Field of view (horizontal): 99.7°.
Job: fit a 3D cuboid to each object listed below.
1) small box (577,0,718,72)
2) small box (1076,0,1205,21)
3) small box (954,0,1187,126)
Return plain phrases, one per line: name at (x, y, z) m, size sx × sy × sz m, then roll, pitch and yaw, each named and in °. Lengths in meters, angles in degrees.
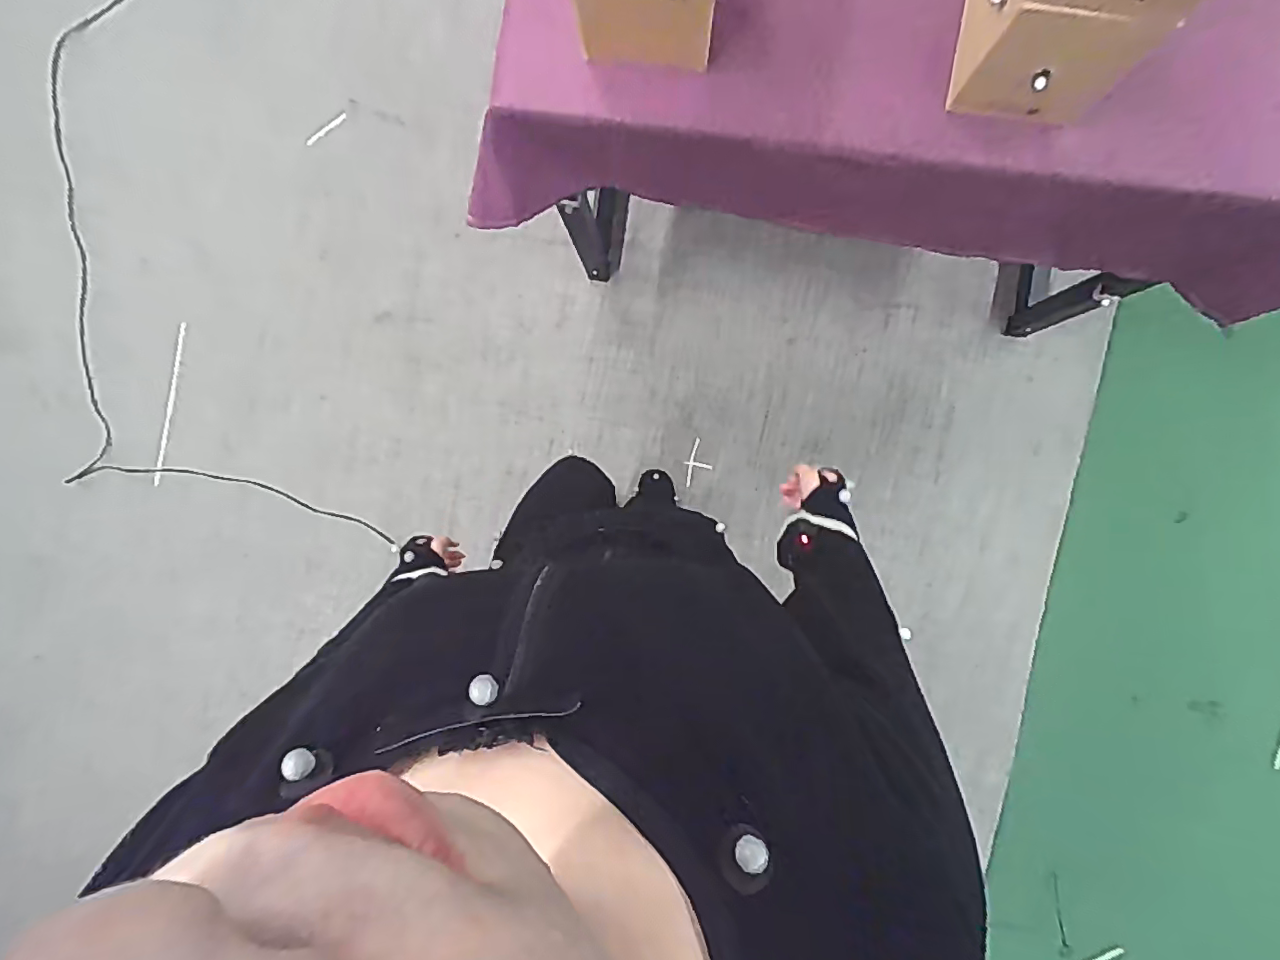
small box at (0.014, -0.658, 0.680) m, size 0.179 × 0.176 × 0.168 m, roll 8°, pitch 90°, yaw 3°
small box at (0.497, -0.567, 0.481) m, size 0.168 × 0.176 × 0.179 m, roll 13°, pitch 91°, yaw 4°
small box at (0.507, -0.564, 0.644) m, size 0.168 × 0.176 × 0.179 m, roll 11°, pitch 91°, yaw 4°
